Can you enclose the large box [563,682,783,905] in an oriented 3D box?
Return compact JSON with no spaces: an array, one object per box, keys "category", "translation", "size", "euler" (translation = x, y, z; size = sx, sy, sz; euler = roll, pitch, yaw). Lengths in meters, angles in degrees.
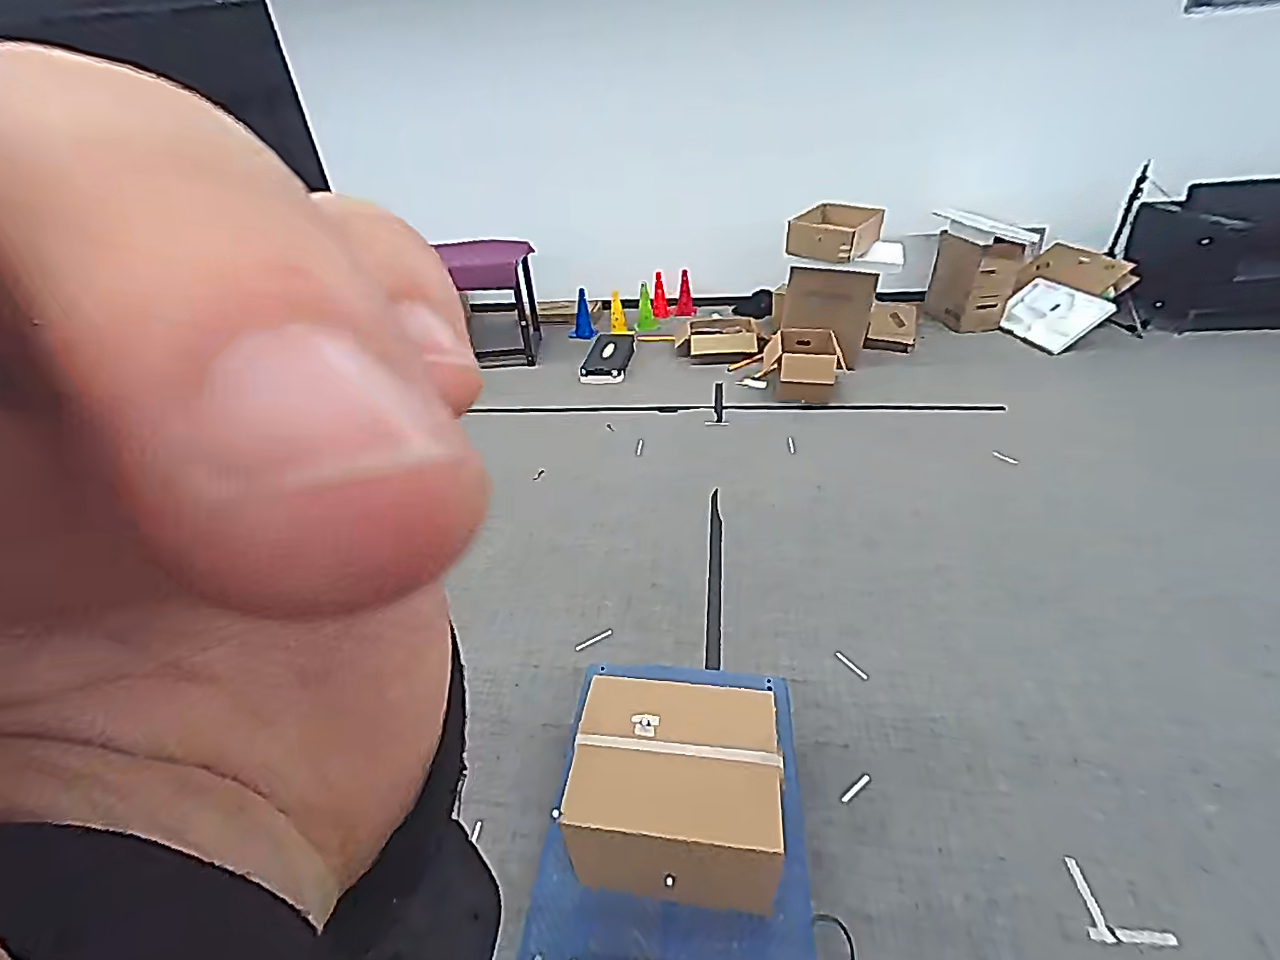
[{"category":"large box","translation":[0.084,0.671,1.174],"size":[0.408,0.320,0.320],"euler":[0,35,9]}]
